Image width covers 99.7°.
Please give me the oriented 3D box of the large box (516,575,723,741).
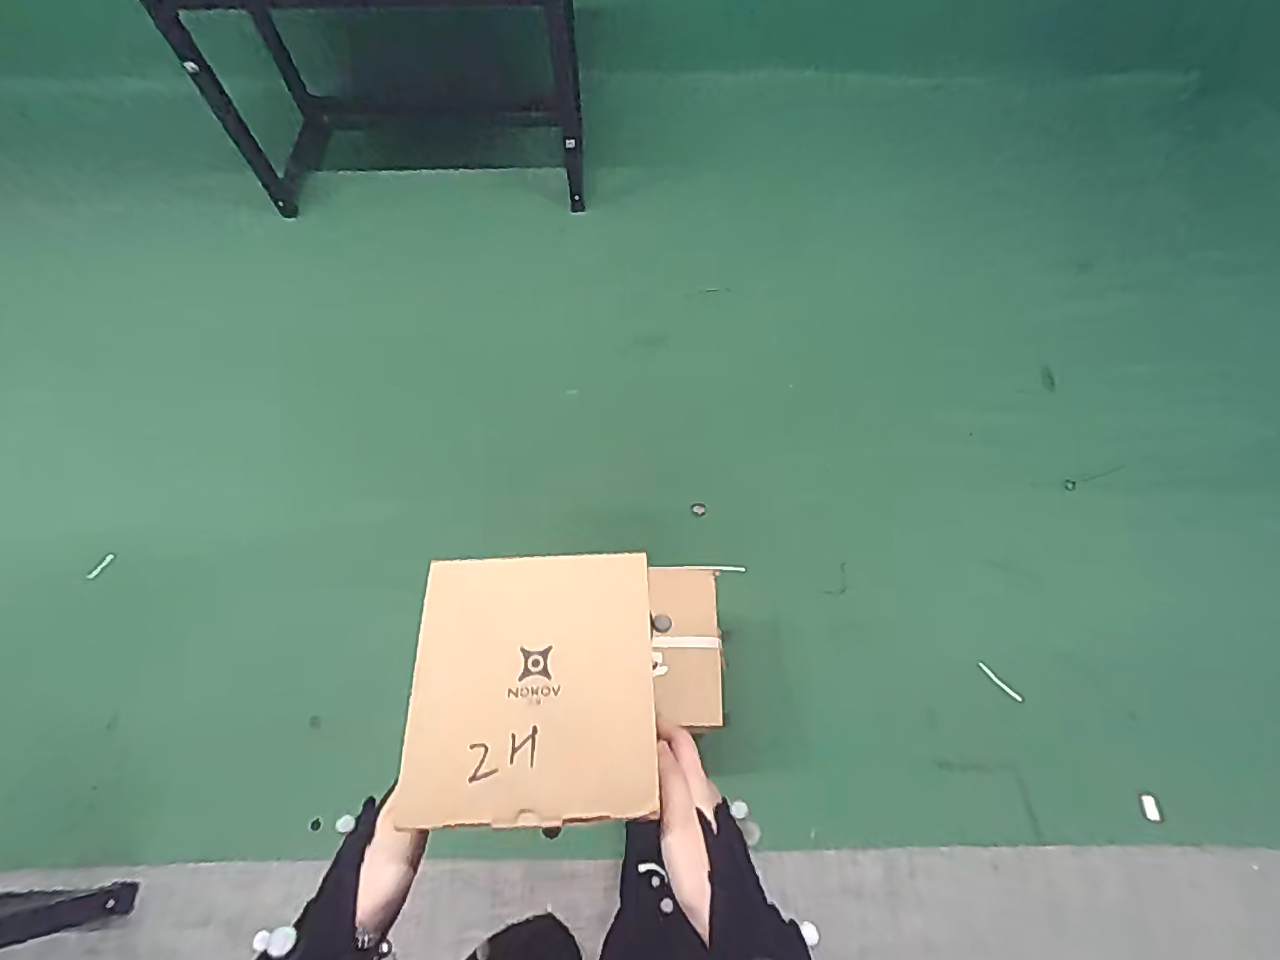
[{"bbox_3d":[-0.042,0.412,1.225,0.408,0.320,0.320,1,63,0],"label":"large box"}]
